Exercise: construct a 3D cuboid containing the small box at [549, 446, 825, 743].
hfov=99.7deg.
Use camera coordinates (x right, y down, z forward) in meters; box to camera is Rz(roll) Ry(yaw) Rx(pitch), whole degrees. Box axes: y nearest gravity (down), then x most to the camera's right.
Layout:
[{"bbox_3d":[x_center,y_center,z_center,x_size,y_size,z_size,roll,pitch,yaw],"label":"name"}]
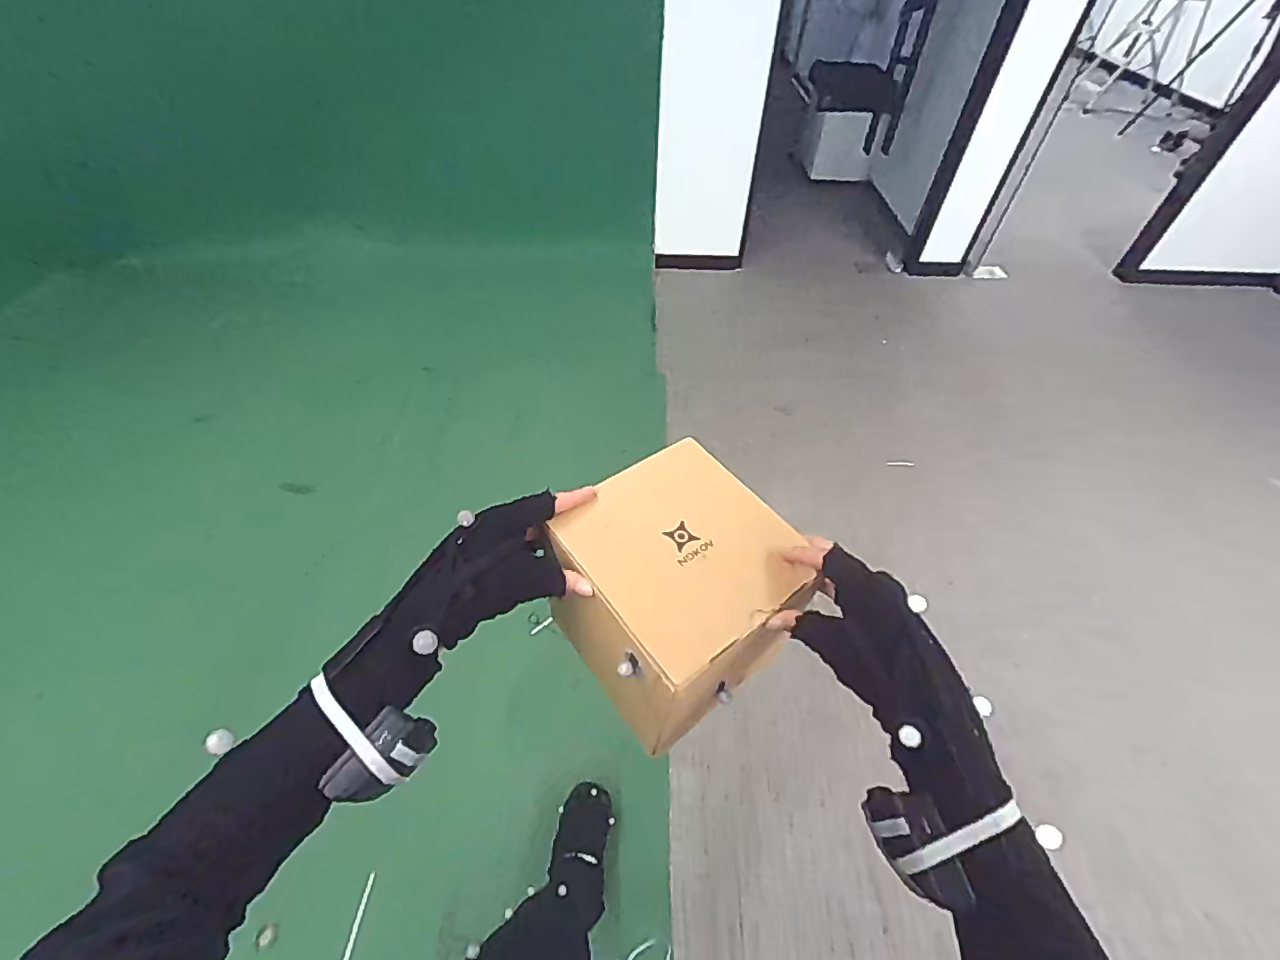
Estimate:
[{"bbox_3d":[0.029,0.105,0.505,0.168,0.176,0.179,-28,57,-26],"label":"small box"}]
